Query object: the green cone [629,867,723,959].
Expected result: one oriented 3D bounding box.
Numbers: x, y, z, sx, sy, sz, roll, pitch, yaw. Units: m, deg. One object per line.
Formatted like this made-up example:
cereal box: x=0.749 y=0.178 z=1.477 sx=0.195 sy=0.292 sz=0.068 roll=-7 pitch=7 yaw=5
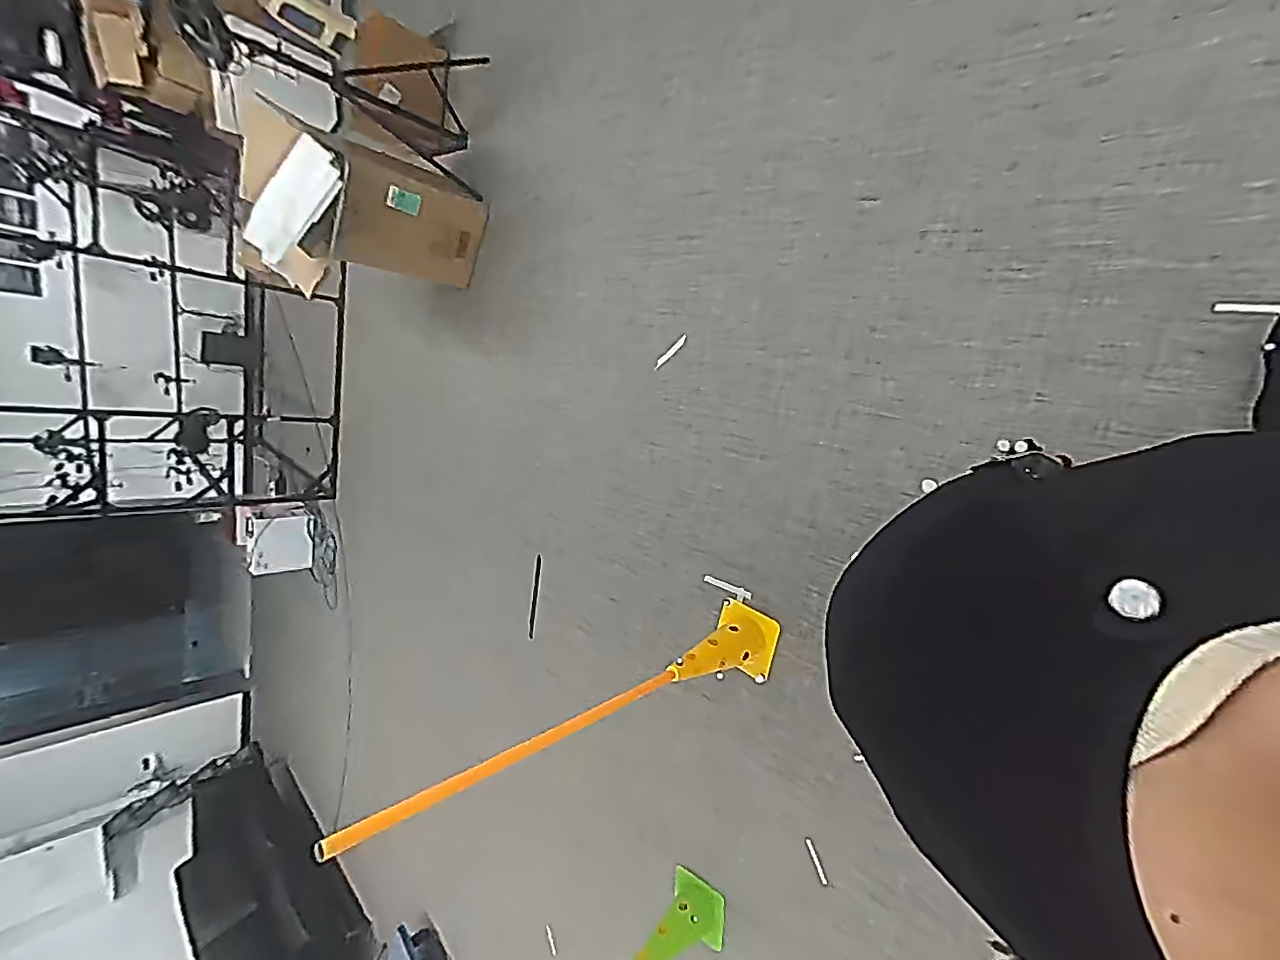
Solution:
green cone: x=0.076 y=1.437 z=1.680 sx=0.200 sy=0.368 sz=0.202 roll=6 pitch=94 yaw=42
